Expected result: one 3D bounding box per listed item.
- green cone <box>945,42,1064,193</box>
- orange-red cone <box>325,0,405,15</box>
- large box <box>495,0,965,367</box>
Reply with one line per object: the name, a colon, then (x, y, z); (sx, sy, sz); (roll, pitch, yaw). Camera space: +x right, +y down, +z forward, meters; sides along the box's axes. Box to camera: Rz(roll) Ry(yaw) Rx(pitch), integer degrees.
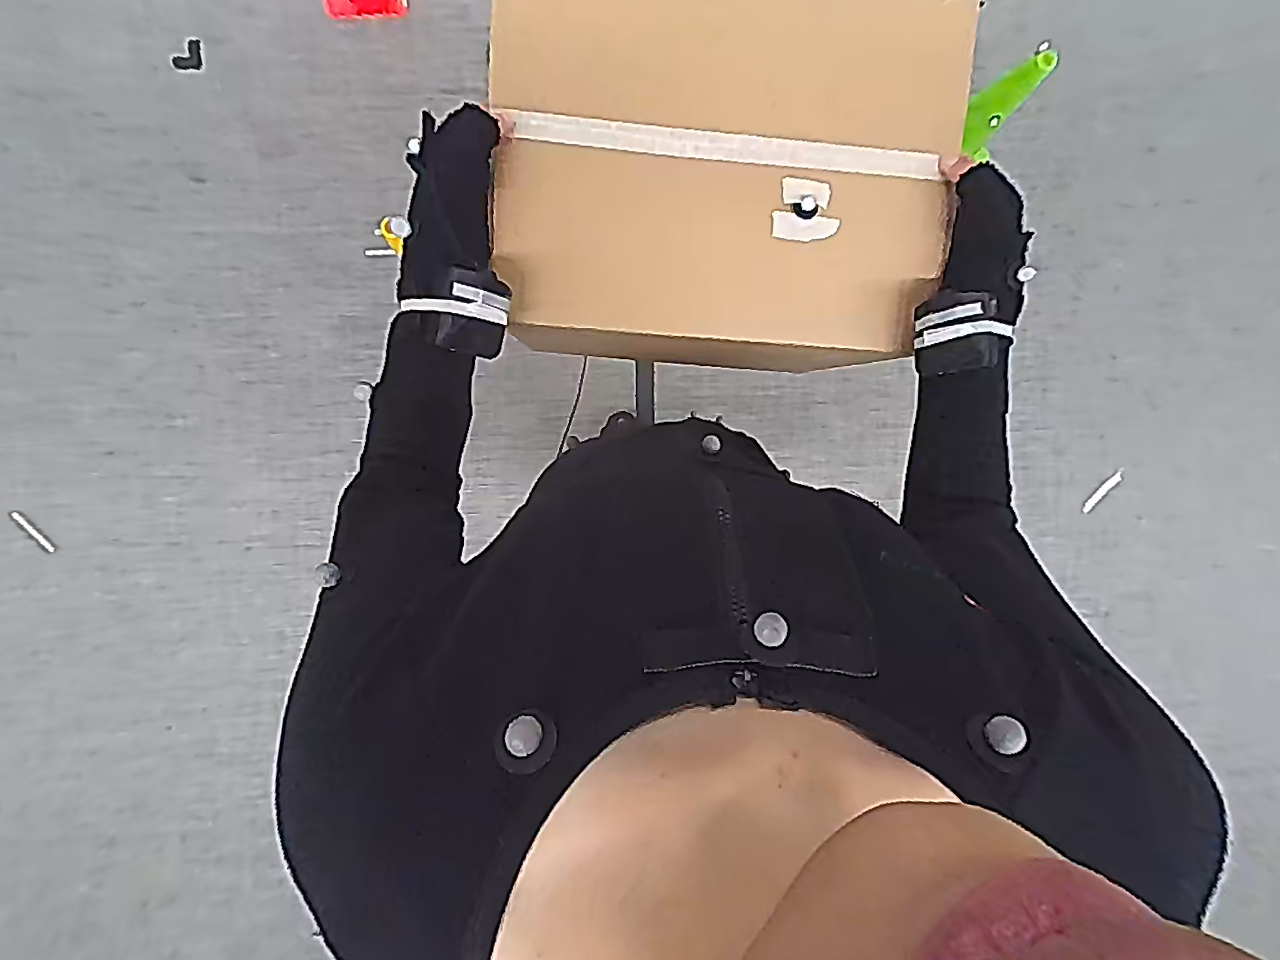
green cone: (0.816, -0.867, 1.261); (0.202, 0.368, 0.200); (-39, 97, -1)
orange-red cone: (-0.675, -1.229, 1.154); (0.198, 0.360, 0.199); (-4, 97, -2)
large box: (0.063, -0.304, 0.612); (0.408, 0.320, 0.320); (3, 98, -6)
